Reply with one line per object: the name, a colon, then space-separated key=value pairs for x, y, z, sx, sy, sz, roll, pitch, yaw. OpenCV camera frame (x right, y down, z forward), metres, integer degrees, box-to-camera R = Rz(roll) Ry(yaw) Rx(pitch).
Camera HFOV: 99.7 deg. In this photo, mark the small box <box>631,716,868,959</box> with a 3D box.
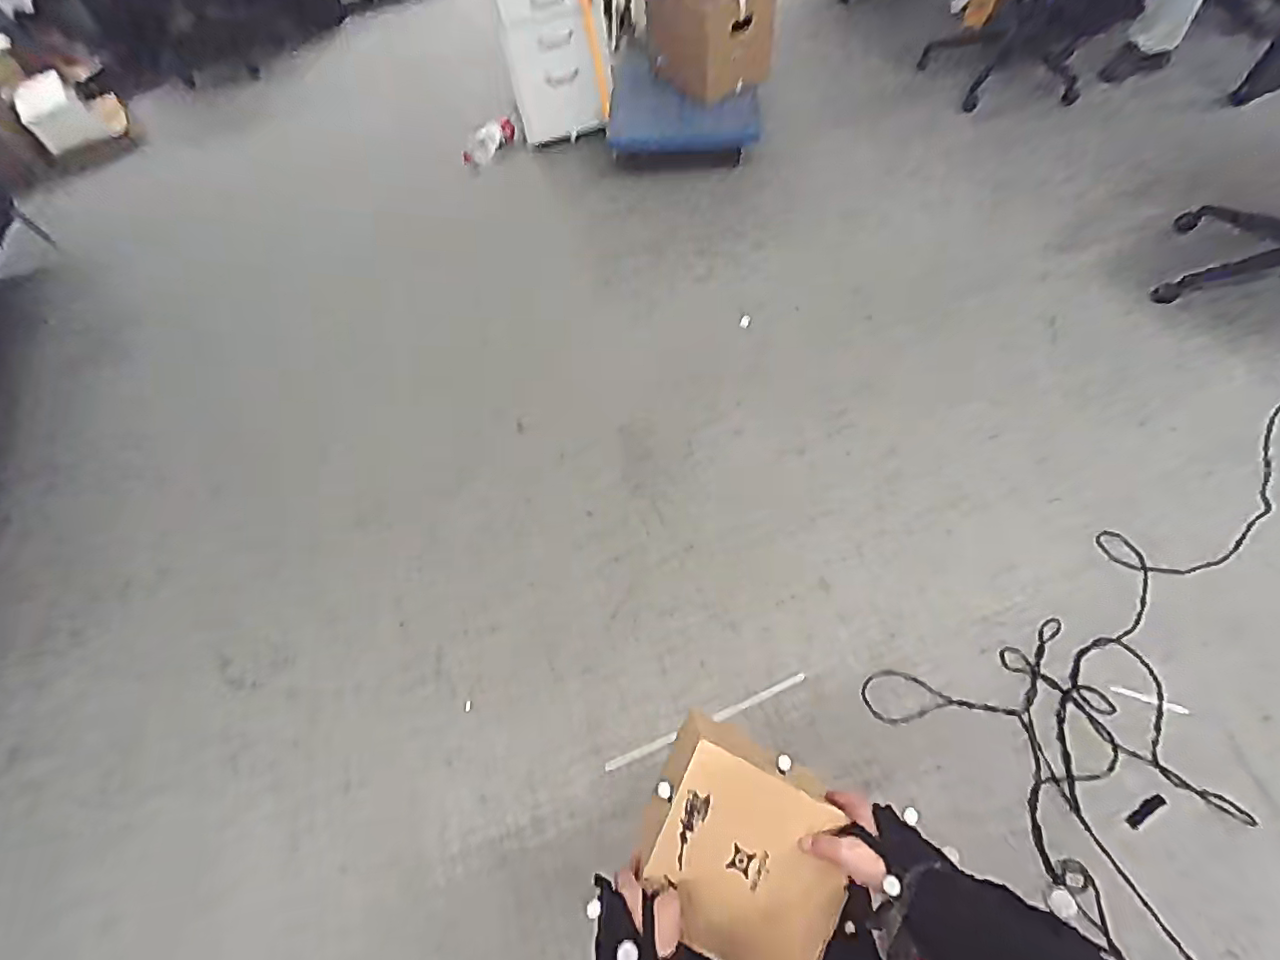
small box: x=0.105 y=0.378 z=0.582 sx=0.179 sy=0.176 sz=0.168 roll=26 pitch=77 yaw=7
